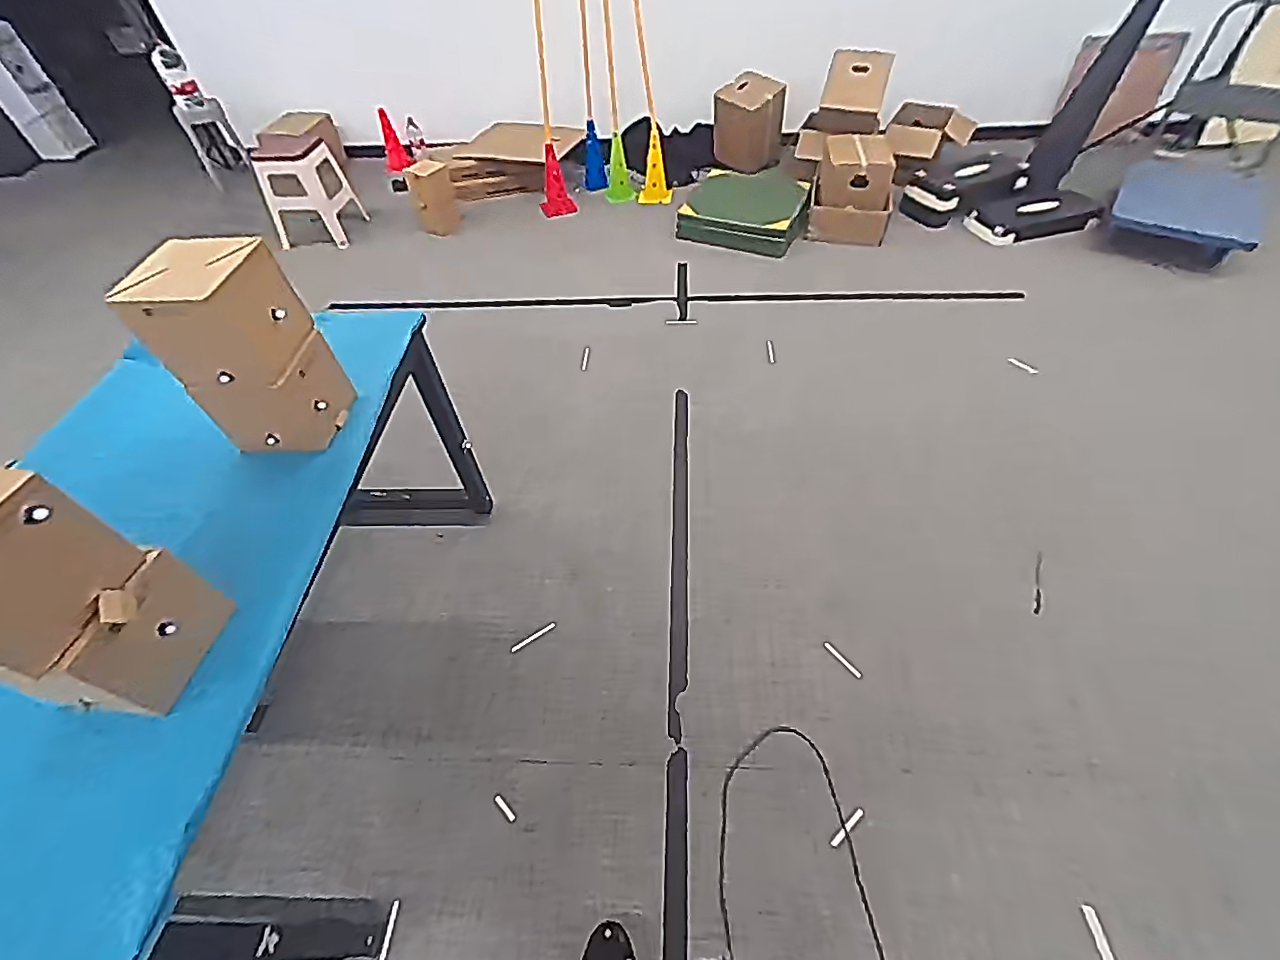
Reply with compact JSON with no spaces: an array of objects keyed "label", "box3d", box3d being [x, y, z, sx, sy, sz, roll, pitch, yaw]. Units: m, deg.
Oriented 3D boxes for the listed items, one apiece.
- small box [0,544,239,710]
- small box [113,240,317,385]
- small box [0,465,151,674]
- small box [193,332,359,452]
[{"label":"small box","box3d":[-0.707,0.191,0.722,0.179,0.176,0.168,4,50,5]},{"label":"small box","box3d":[-0.690,-0.279,0.899,0.168,0.176,0.179,0,53,5]},{"label":"small box","box3d":[-0.724,0.092,0.591,0.179,0.176,0.168,8,51,7]},{"label":"small box","box3d":[-0.677,-0.170,1.021,0.179,0.176,0.168,-1,50,3]}]
